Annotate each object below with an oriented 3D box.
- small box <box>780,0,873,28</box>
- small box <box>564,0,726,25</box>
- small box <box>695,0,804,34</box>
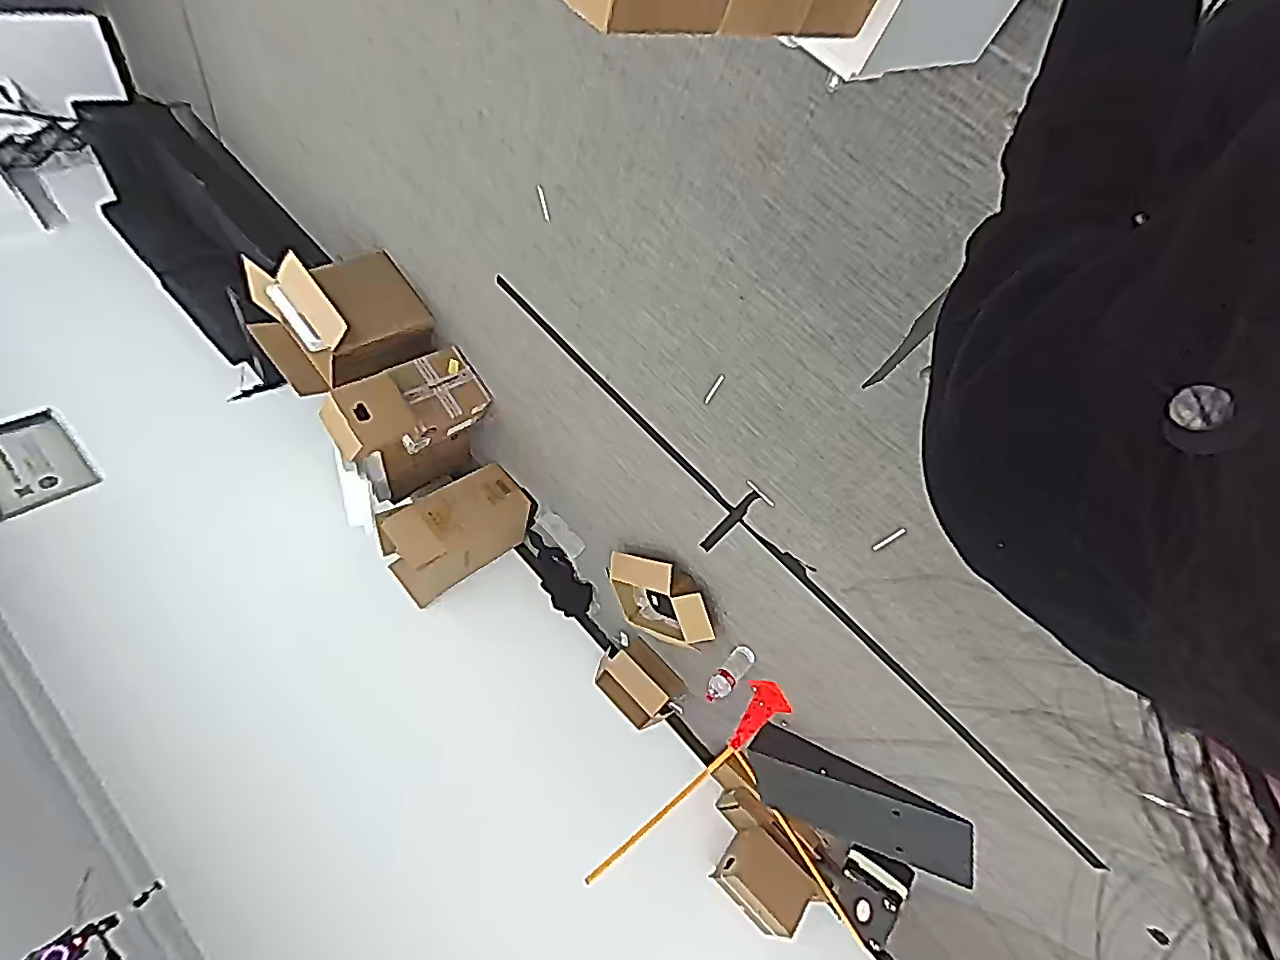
[{"bbox_3d":[0.204,-0.669,0.635,0.179,0.176,0.168,48,145,11],"label":"small box"},{"bbox_3d":[-0.011,-0.515,0.448,0.179,0.176,0.168,45,145,12],"label":"small box"},{"bbox_3d":[0.097,-0.591,0.541,0.179,0.176,0.168,46,144,12],"label":"small box"}]
